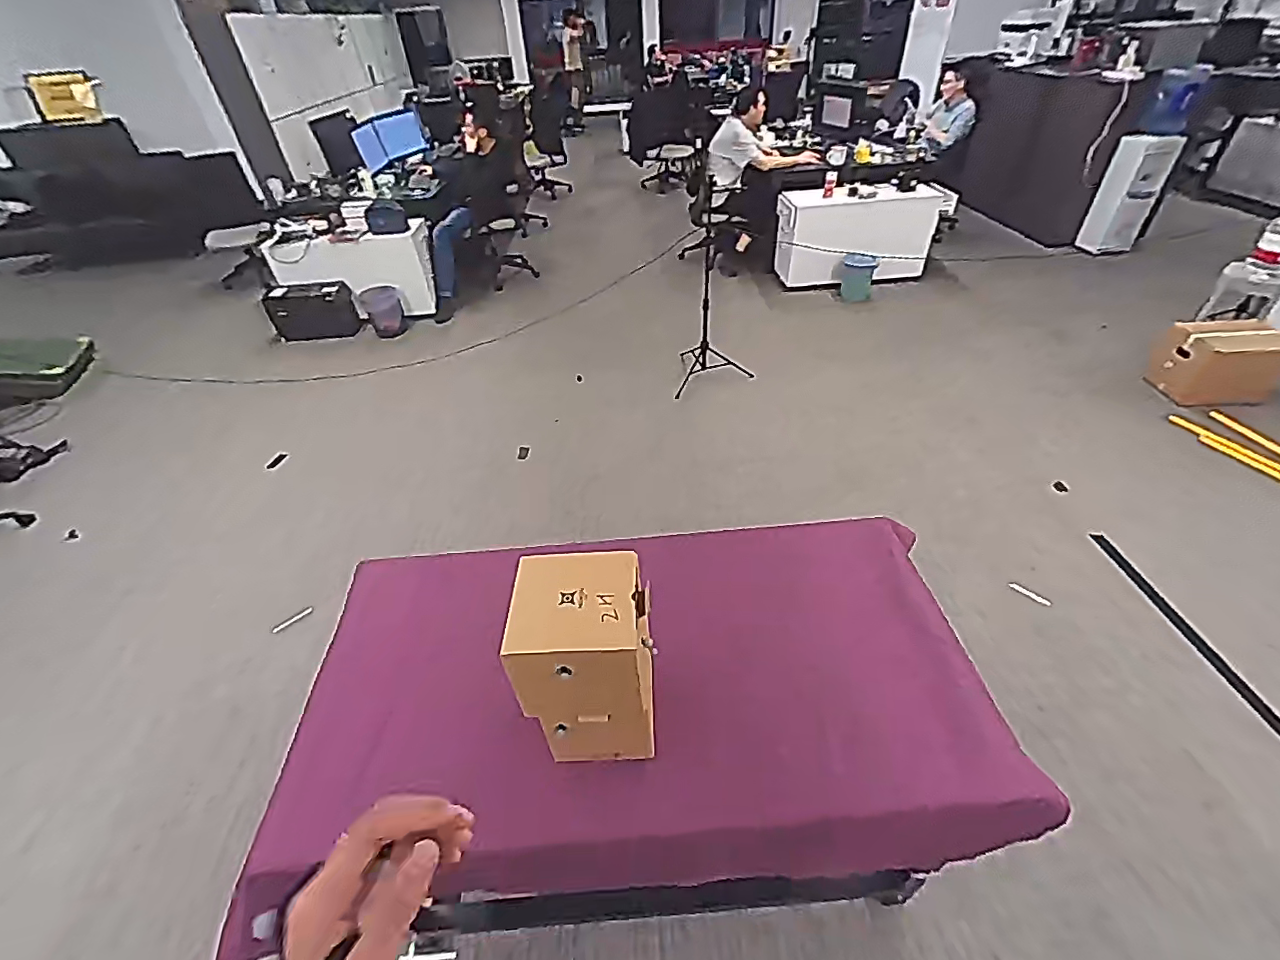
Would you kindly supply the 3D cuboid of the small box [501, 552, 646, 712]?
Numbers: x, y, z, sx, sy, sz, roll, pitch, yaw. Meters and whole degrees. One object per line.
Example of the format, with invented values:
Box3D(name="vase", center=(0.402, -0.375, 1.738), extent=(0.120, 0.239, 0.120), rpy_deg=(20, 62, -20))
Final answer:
Box3D(name="small box", center=(-0.084, 0.223, 0.791), extent=(0.179, 0.176, 0.168), rpy_deg=(-2, 41, 2))
